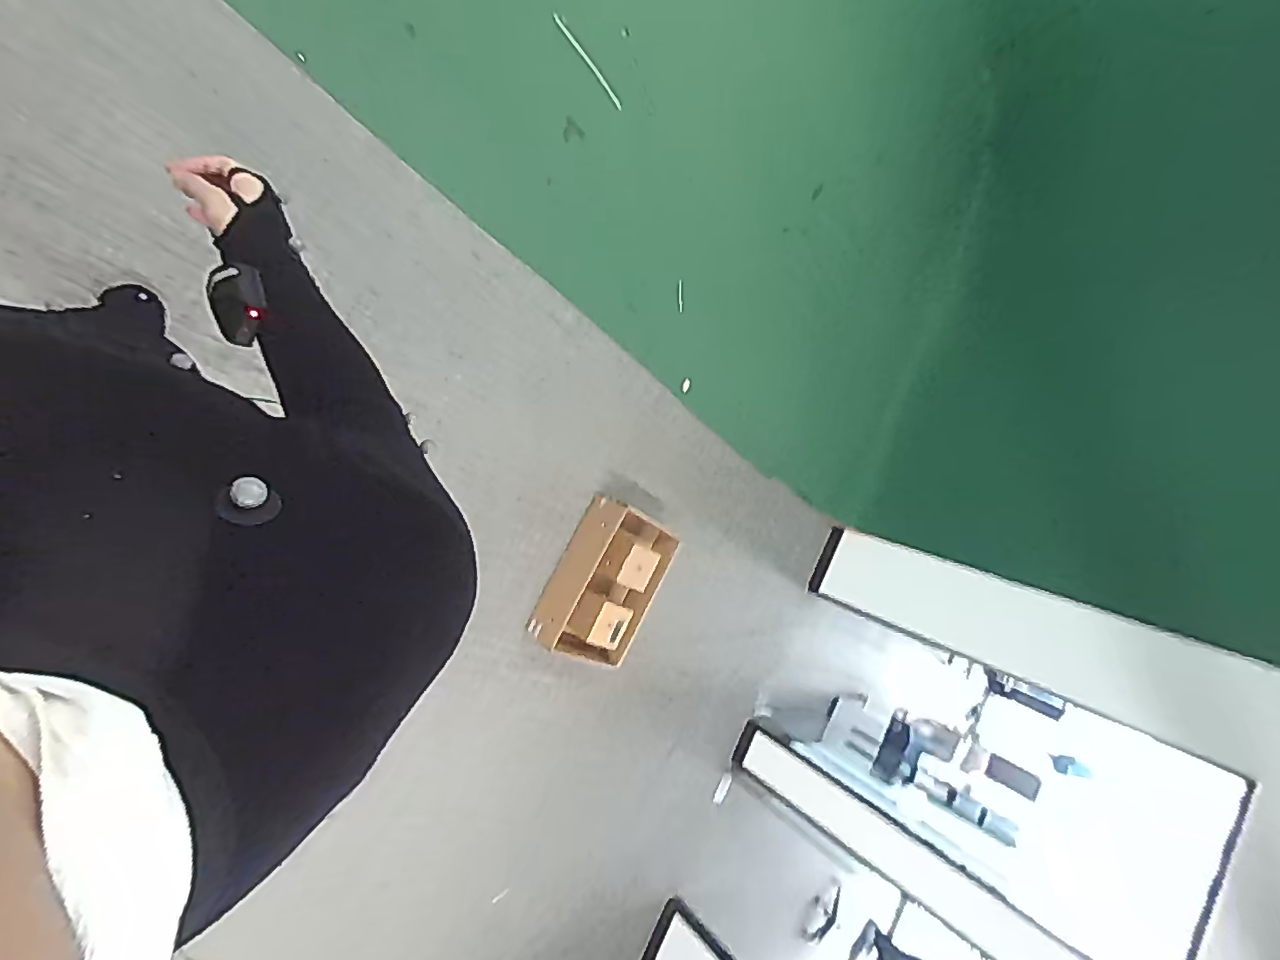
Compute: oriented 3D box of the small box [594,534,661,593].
[{"bbox_3d":[-0.054,0.333,2.185,0.179,0.176,0.168,32,83,-44],"label":"small box"}]
